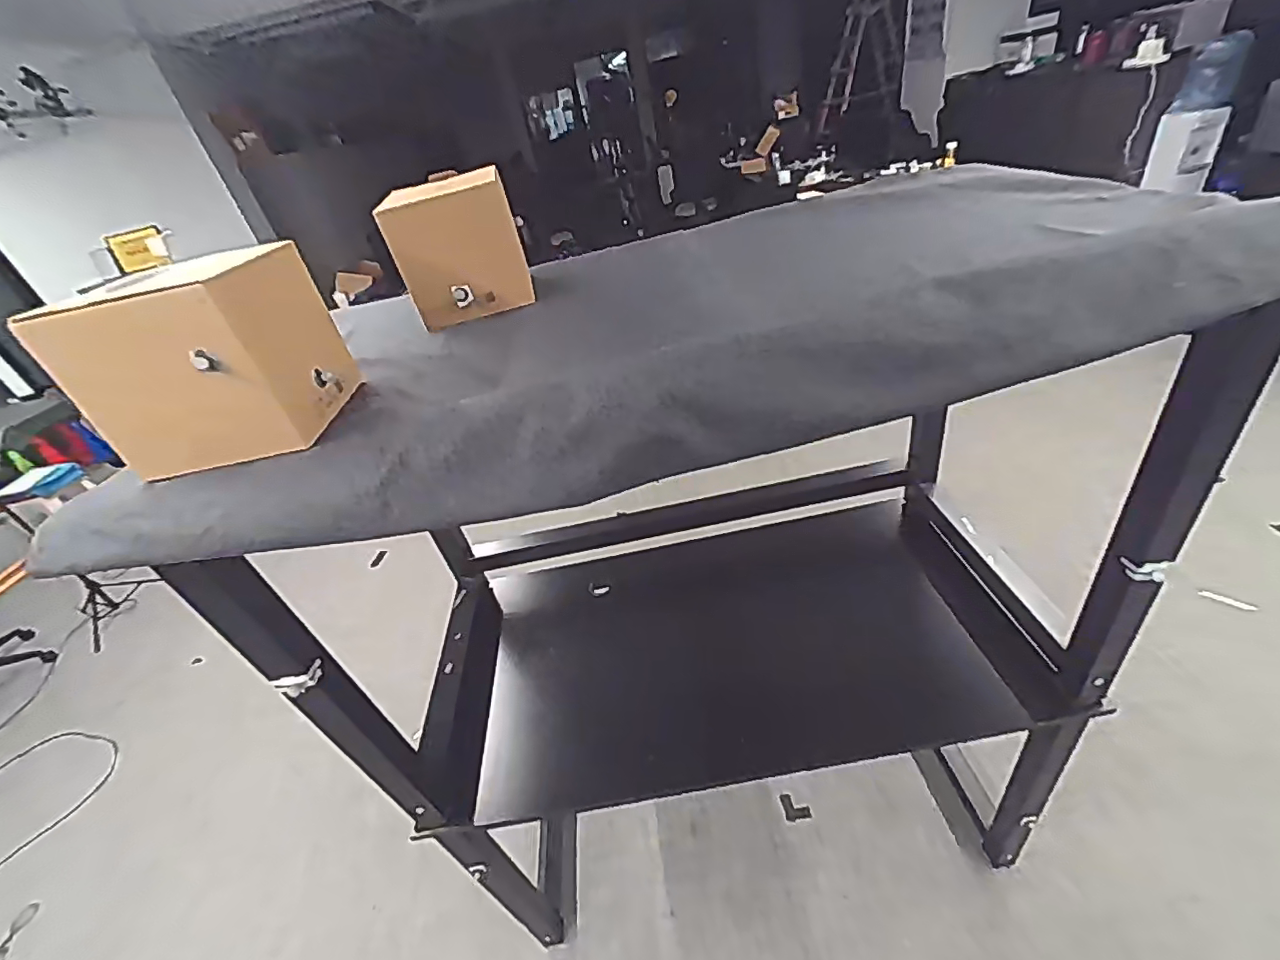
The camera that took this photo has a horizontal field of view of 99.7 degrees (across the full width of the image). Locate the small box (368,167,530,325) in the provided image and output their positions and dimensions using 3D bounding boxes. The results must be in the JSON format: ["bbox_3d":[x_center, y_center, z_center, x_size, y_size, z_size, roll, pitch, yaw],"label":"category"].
[{"bbox_3d":[-0.270,-0.350,0.807,0.168,0.176,0.179,-17,35,-3],"label":"small box"}]
